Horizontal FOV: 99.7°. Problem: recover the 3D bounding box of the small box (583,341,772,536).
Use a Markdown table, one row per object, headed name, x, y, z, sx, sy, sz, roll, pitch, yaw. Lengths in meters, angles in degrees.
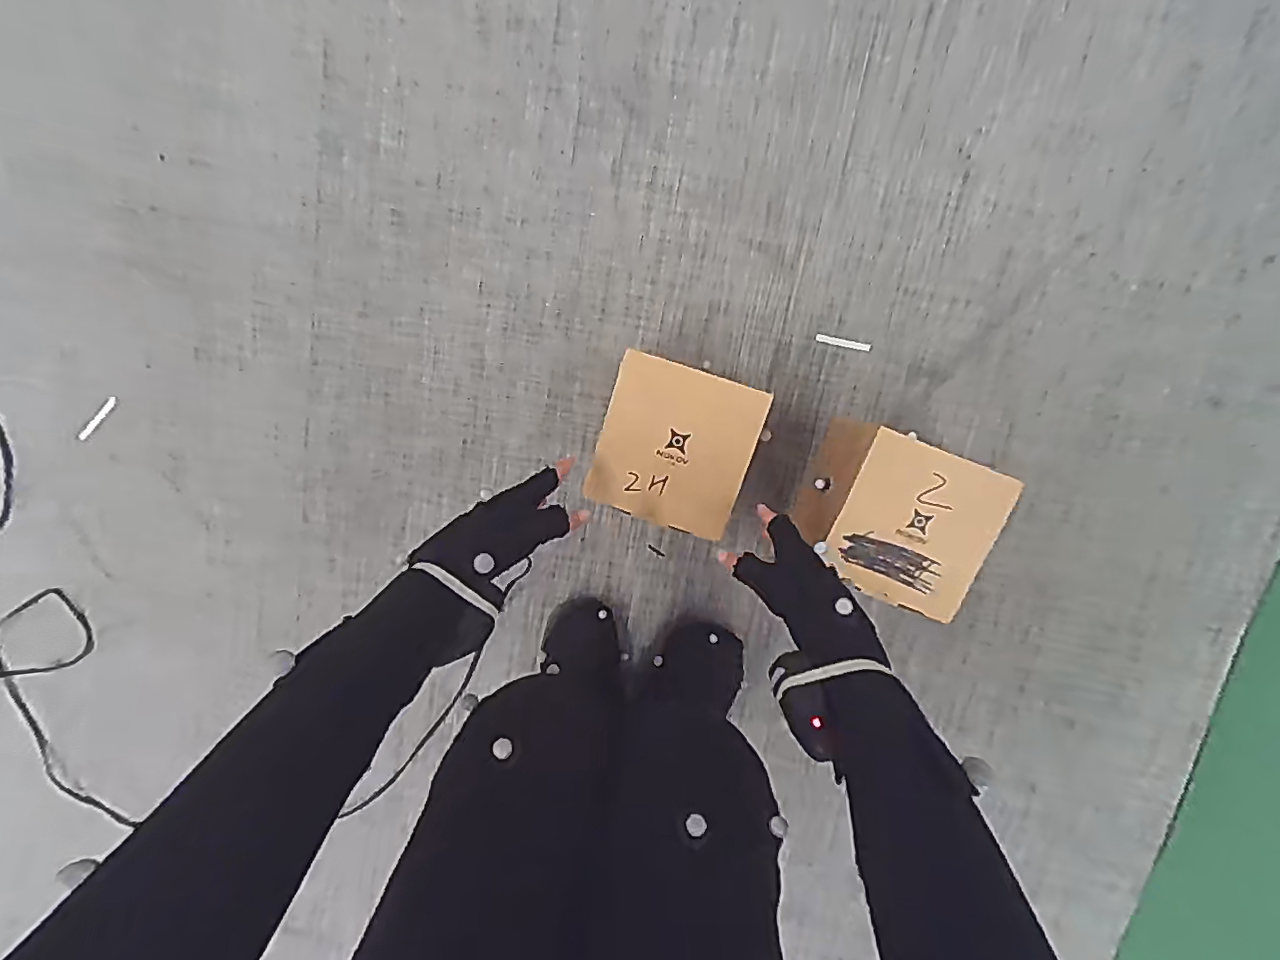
| name | x | y | z | sx | sy | sz | roll | pitch | yaw |
| --- | --- | --- | --- | --- | --- | --- | --- | --- | --- |
| small box | 0.045 | -0.057 | 0.666 | 0.168 | 0.176 | 0.179 | 19 | 102 | 2 |
